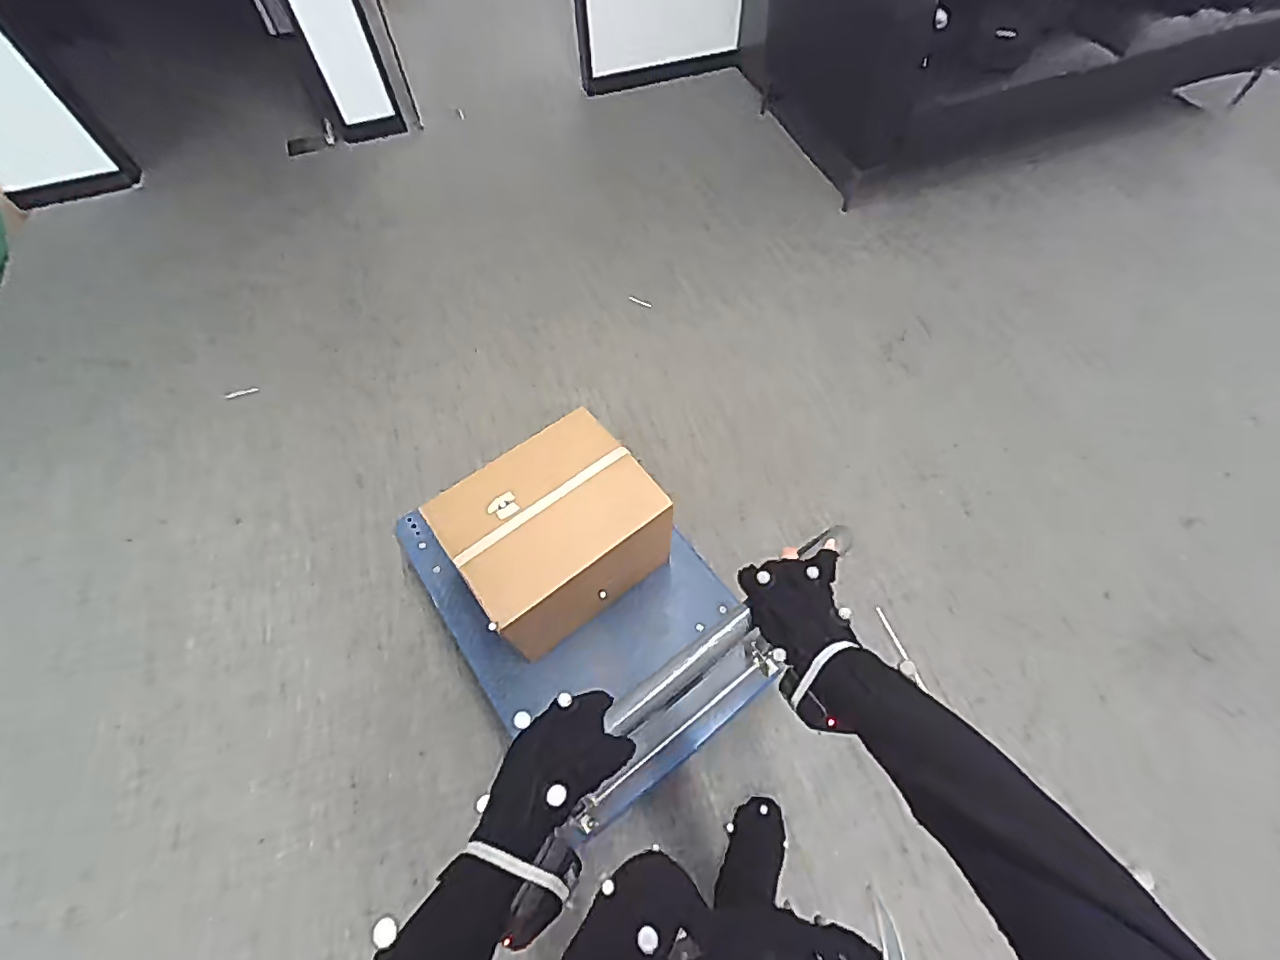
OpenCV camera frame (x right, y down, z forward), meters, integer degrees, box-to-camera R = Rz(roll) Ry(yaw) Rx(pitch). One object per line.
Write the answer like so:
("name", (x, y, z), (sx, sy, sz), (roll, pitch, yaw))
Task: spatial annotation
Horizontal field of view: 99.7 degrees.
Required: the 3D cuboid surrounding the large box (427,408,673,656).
("large box", (-0.176, 0.122, 1.207), (0.408, 0.320, 0.320), (-36, 66, -16))
